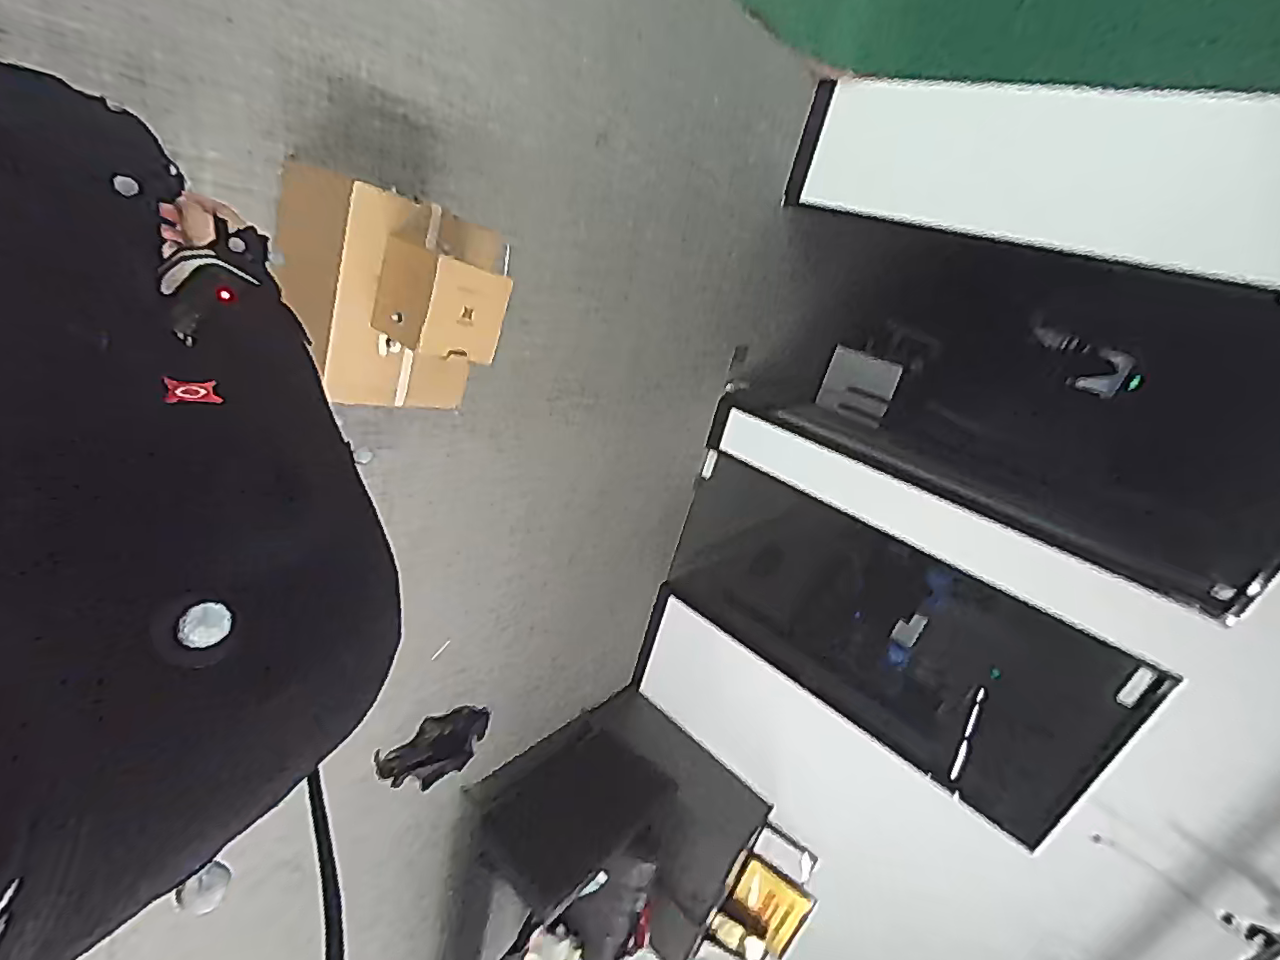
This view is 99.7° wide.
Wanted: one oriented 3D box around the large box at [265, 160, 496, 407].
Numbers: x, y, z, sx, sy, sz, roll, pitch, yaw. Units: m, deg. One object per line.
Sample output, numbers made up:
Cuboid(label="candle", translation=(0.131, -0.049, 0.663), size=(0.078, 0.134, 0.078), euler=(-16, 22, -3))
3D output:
Cuboid(label="large box", translation=(-0.569, -0.406, 1.174), size=(0.320, 0.320, 0.408), euler=(-5, 121, -52))

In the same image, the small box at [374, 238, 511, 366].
Cuboid(label="small box", translation=(-0.380, -0.337, 1.031), size=(0.168, 0.176, 0.179), euler=(-6, 119, -55))
